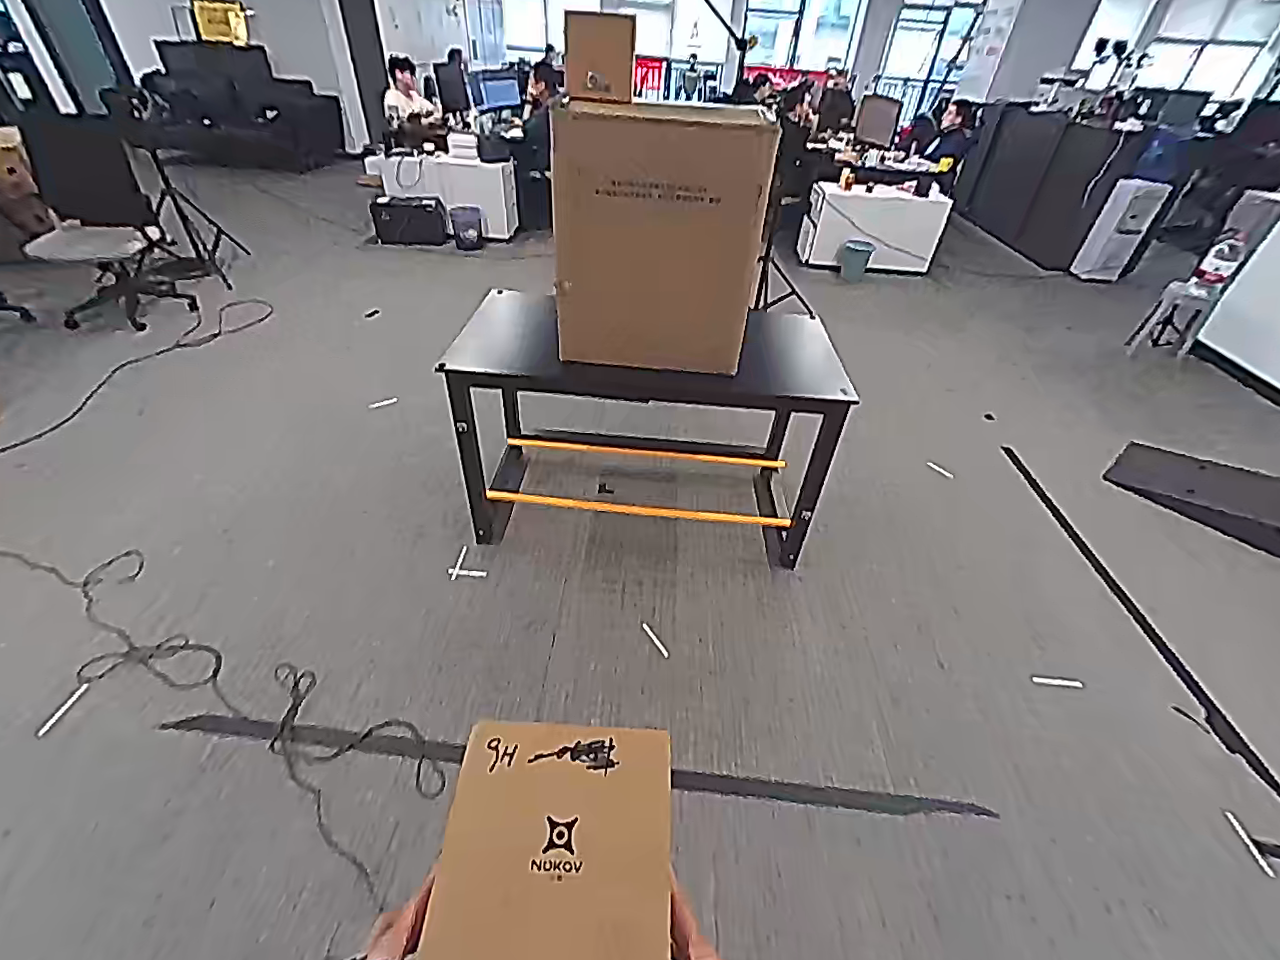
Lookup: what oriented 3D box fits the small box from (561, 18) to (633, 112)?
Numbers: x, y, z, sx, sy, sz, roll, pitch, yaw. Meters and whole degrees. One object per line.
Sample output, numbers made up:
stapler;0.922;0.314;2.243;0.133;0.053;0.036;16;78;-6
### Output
small box;-0.103;-1.023;1.337;0.168;0.176;0.179;2;38;-2
